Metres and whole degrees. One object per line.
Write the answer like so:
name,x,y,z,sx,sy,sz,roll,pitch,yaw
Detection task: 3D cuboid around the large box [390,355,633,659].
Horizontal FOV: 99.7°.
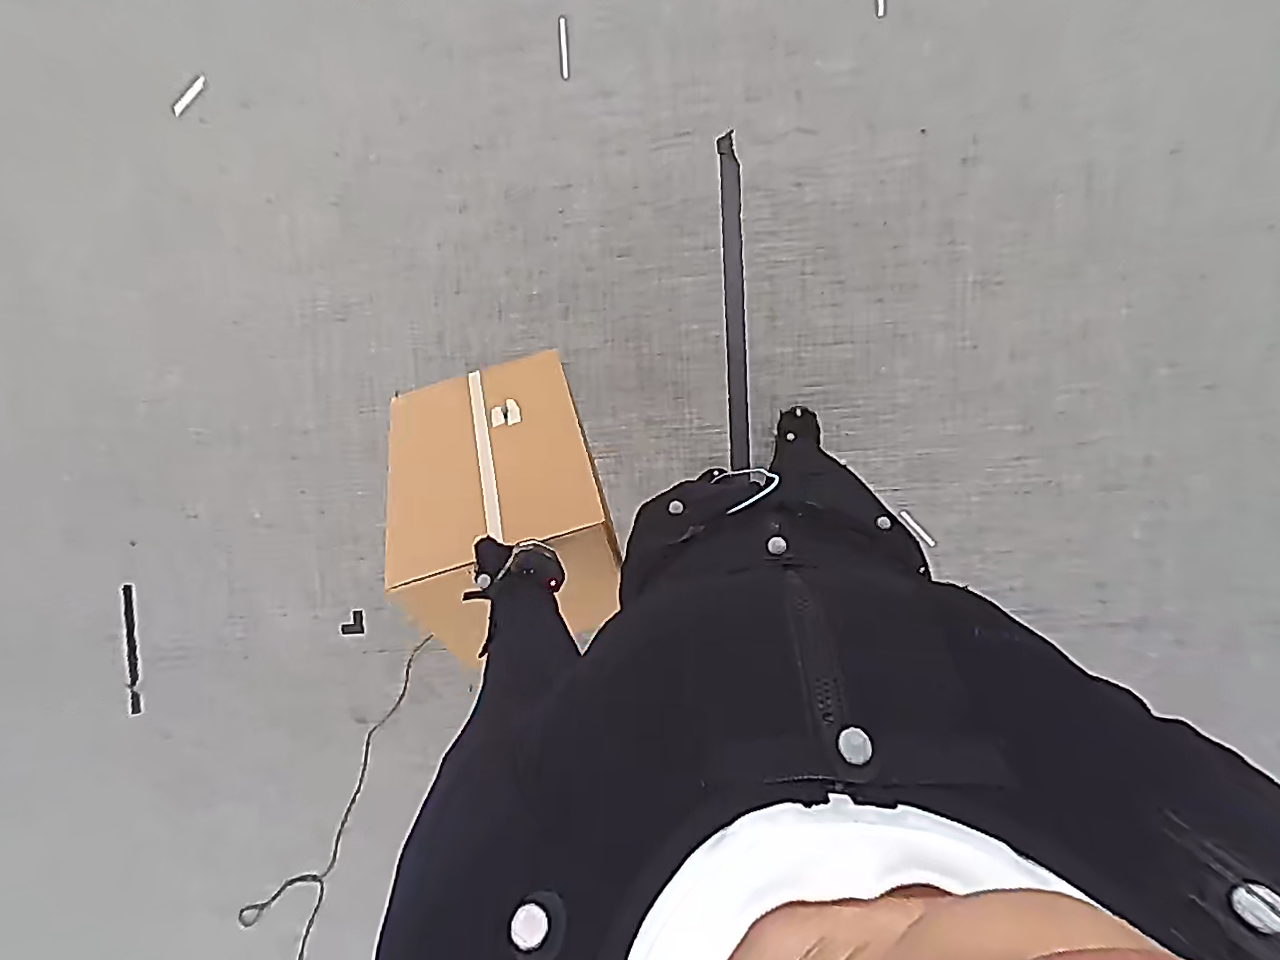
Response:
large box,-0.228,0.048,0.988,0.320,0.320,0.408,-16,51,-4
